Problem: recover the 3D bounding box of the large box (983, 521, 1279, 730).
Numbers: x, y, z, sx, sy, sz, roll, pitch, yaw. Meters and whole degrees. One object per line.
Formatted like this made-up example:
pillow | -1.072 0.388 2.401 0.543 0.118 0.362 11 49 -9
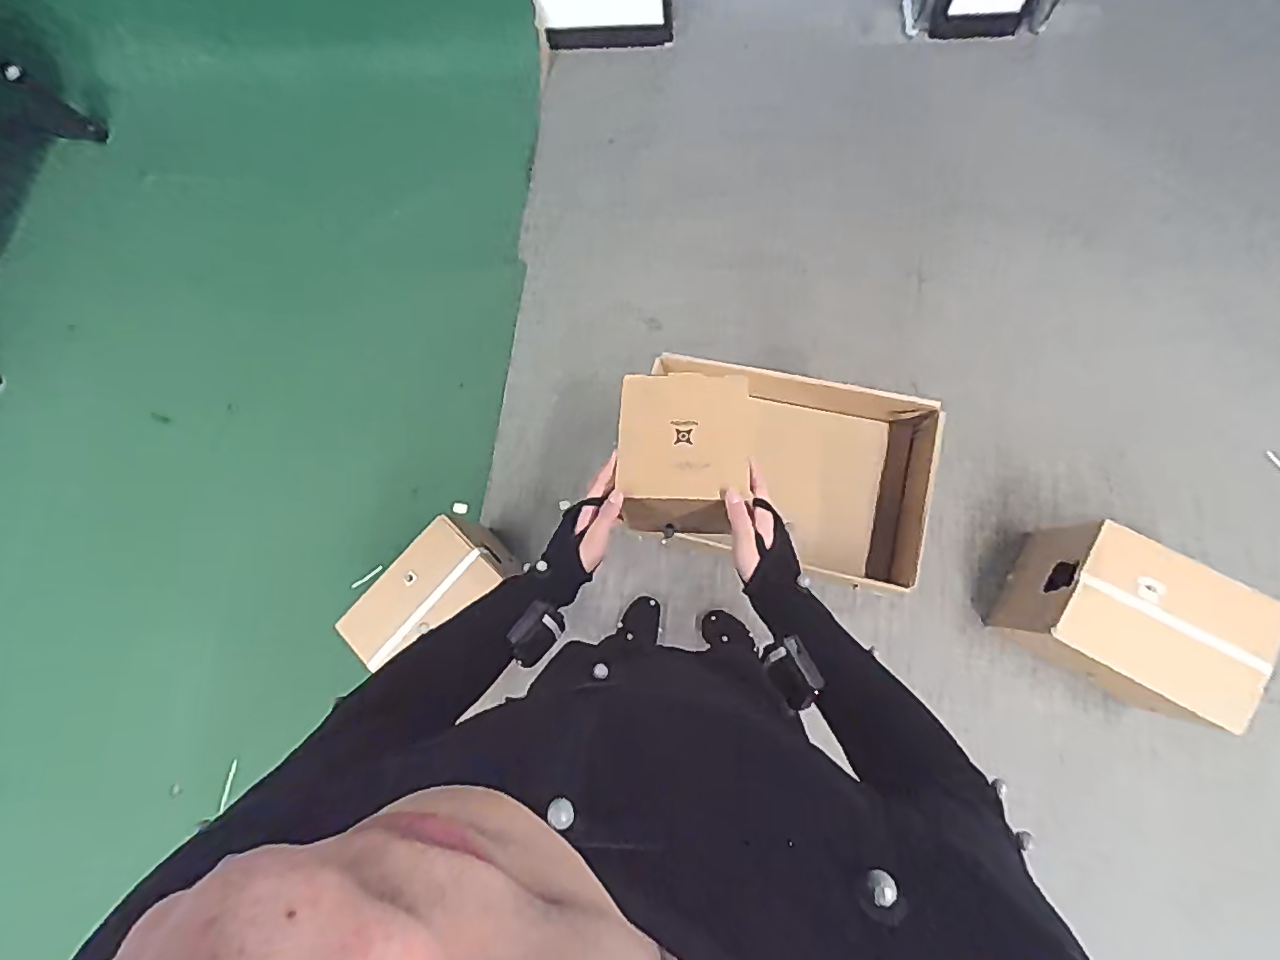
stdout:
large box | 1.184 0.344 1.352 0.408 0.320 0.320 29 83 12
